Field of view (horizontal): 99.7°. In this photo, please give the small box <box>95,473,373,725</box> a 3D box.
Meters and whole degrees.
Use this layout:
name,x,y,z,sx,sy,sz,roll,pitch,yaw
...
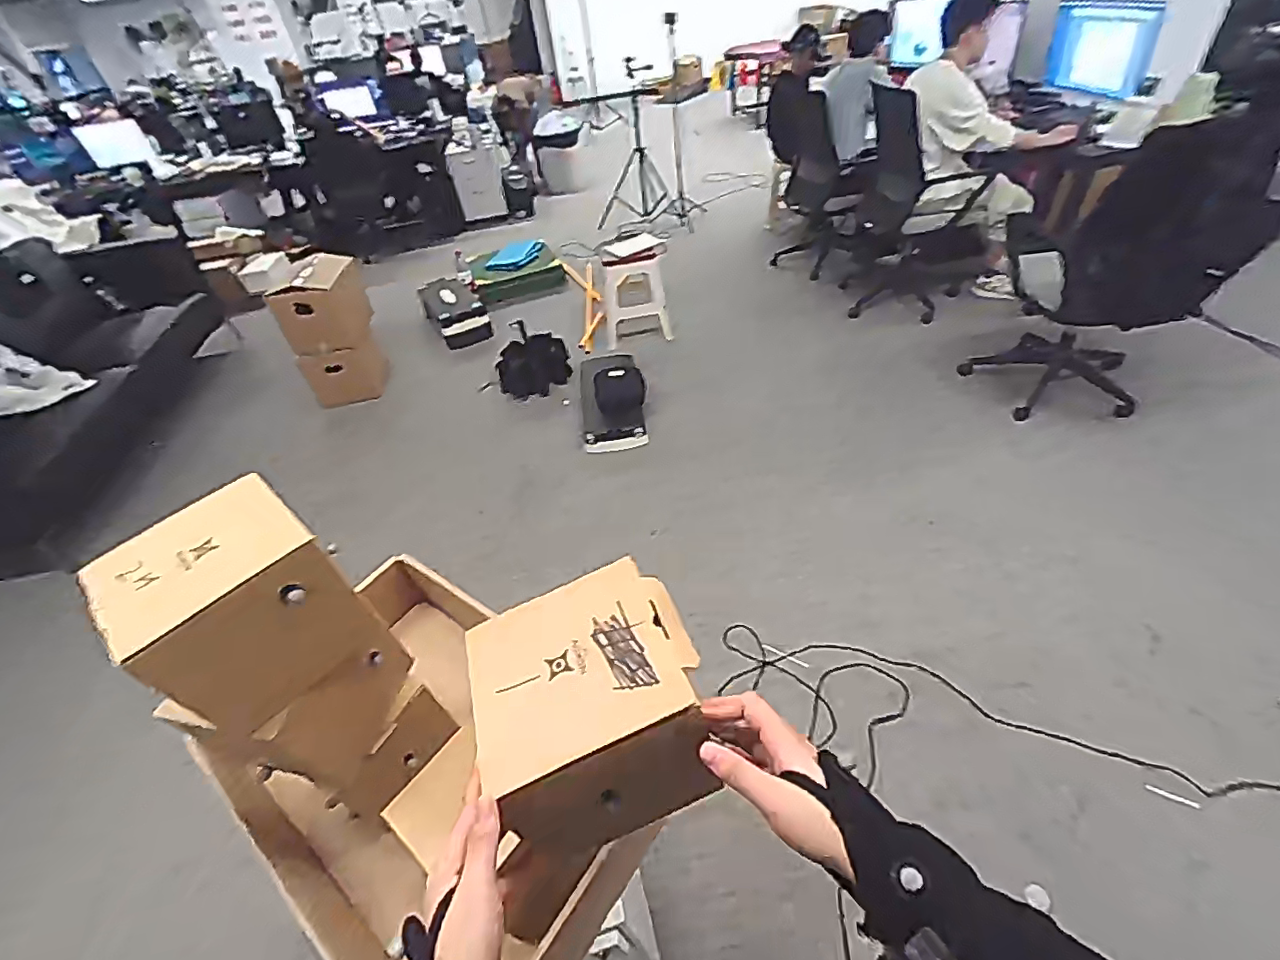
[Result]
name,x,y,z,sx,sy,sz,roll,pitch,yaw
small box,-0.432,0.130,0.605,0.168,0.176,0.179,28,56,33

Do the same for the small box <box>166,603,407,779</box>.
name,x,y,z,sx,sy,sz,roll,pitch,yaw
small box,-0.436,0.261,0.709,0.168,0.176,0.179,3,47,13
